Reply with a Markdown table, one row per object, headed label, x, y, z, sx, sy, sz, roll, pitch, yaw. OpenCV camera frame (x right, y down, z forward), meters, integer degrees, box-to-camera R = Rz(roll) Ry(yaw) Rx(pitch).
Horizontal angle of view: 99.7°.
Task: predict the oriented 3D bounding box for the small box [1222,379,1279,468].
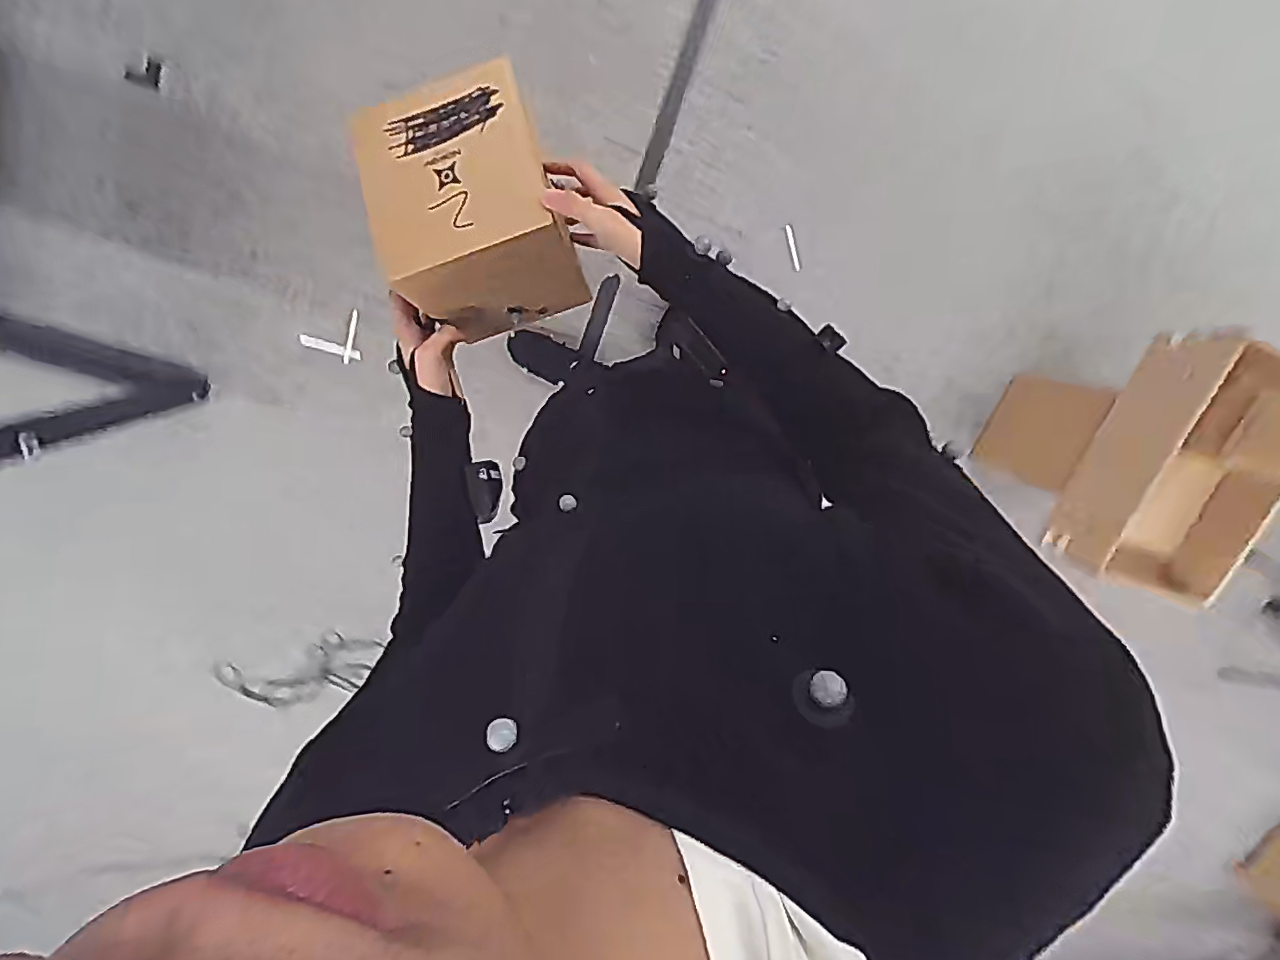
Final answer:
| label | x | y | z | sx | sy | sz | roll | pitch | yaw |
| --- | --- | --- | --- | --- | --- | --- | --- | --- | --- |
| small box | 1.421 | -0.104 | 1.142 | 0.179 | 0.176 | 0.168 | 16 | 105 | -15 |

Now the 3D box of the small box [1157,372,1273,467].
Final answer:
| label | x | y | z | sx | sy | sz | roll | pitch | yaw |
| --- | --- | --- | --- | --- | --- | --- | --- | --- | --- |
| small box | 1.415 | -0.149 | 1.300 | 0.168 | 0.176 | 0.179 | 11 | 106 | -13 |
